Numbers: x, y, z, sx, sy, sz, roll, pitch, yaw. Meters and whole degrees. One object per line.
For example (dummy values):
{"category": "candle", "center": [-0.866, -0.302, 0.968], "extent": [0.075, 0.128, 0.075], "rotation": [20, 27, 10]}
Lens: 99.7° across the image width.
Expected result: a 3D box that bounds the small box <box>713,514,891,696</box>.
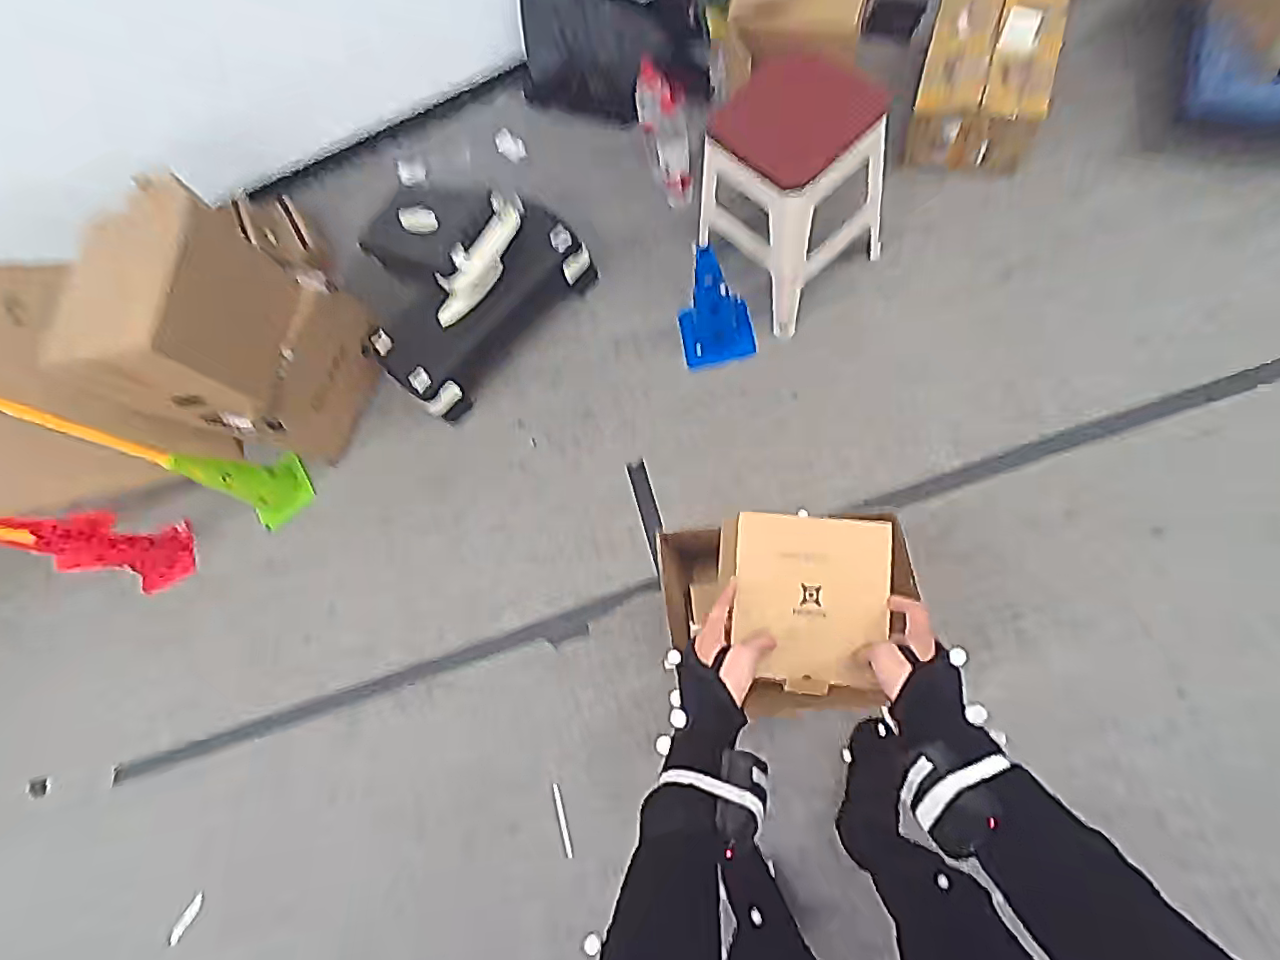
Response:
{"category": "small box", "center": [0.181, 0.139, 0.650], "extent": [0.168, 0.176, 0.179], "rotation": [6, 83, 3]}
